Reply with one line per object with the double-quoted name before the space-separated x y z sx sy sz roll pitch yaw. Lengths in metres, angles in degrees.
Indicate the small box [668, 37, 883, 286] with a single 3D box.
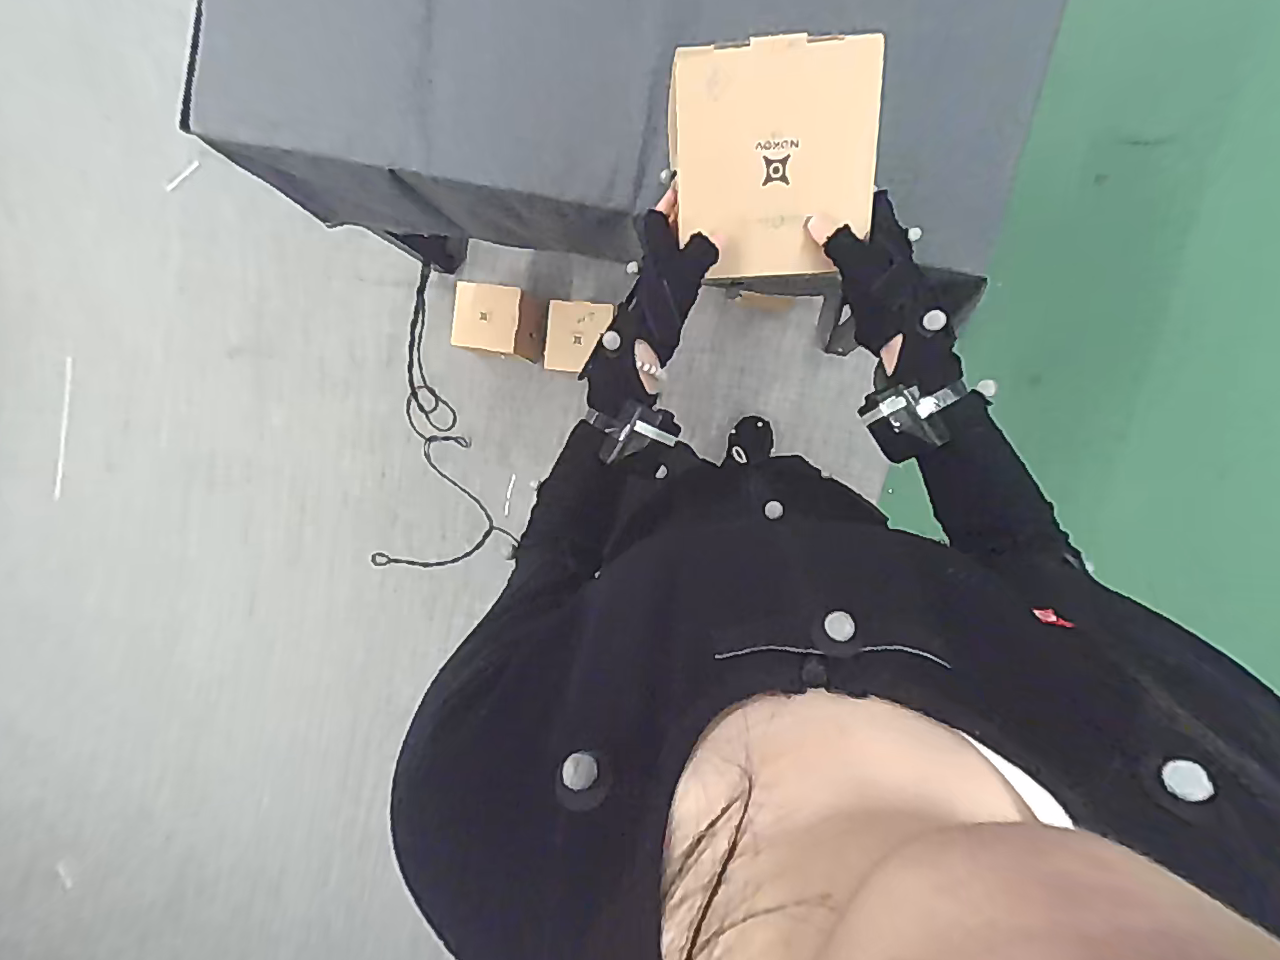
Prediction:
"small box" 0.112 -0.285 0.523 0.168 0.176 0.179 -1 109 2
